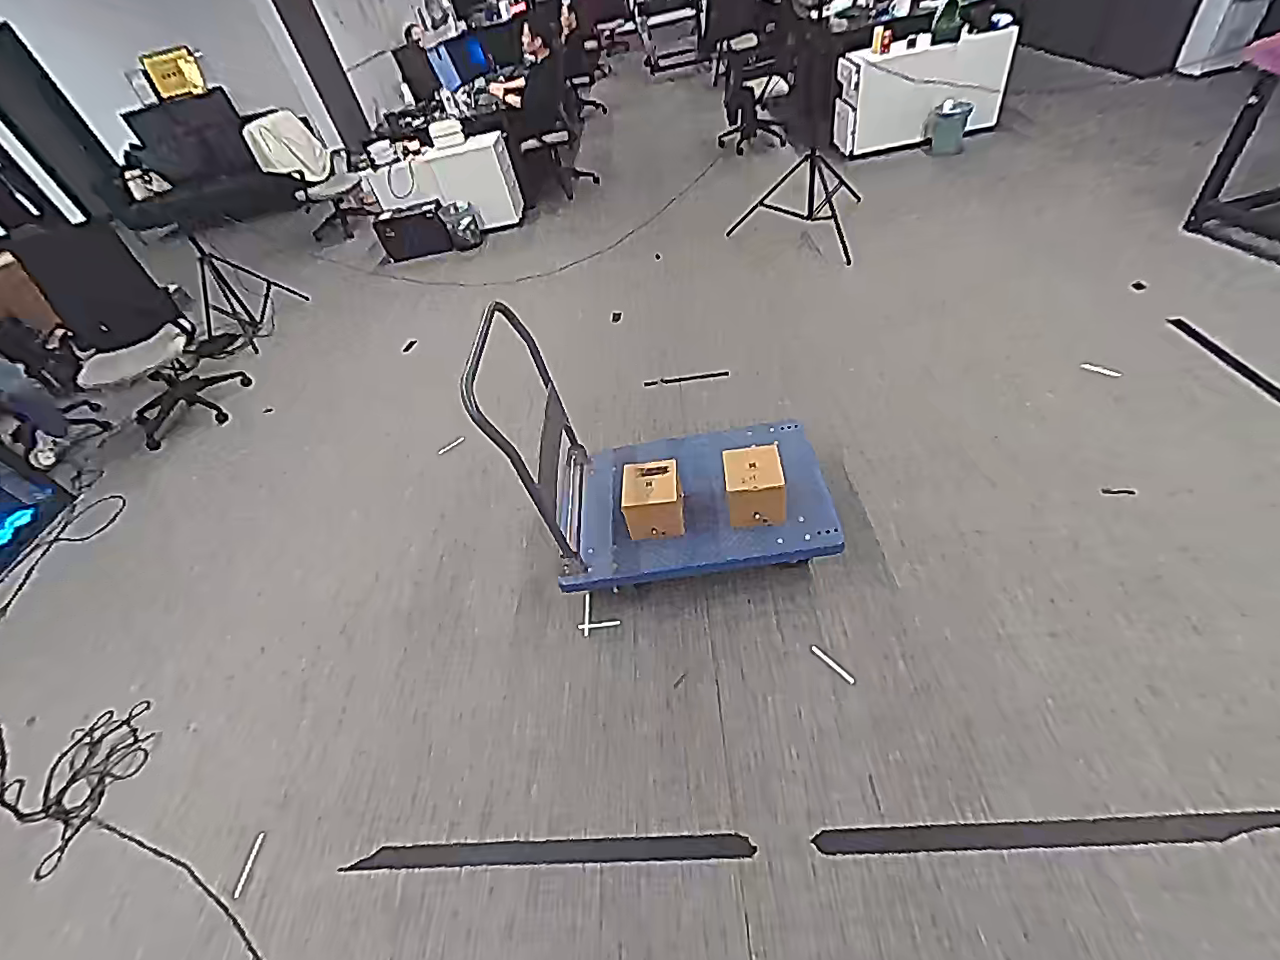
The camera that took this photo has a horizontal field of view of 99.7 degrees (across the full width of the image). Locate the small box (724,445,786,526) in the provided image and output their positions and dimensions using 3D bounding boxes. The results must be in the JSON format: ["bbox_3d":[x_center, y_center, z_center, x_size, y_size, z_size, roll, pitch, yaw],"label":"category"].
[{"bbox_3d":[0.349,0.018,1.646,0.168,0.176,0.179,-7,45,9],"label":"small box"}]
